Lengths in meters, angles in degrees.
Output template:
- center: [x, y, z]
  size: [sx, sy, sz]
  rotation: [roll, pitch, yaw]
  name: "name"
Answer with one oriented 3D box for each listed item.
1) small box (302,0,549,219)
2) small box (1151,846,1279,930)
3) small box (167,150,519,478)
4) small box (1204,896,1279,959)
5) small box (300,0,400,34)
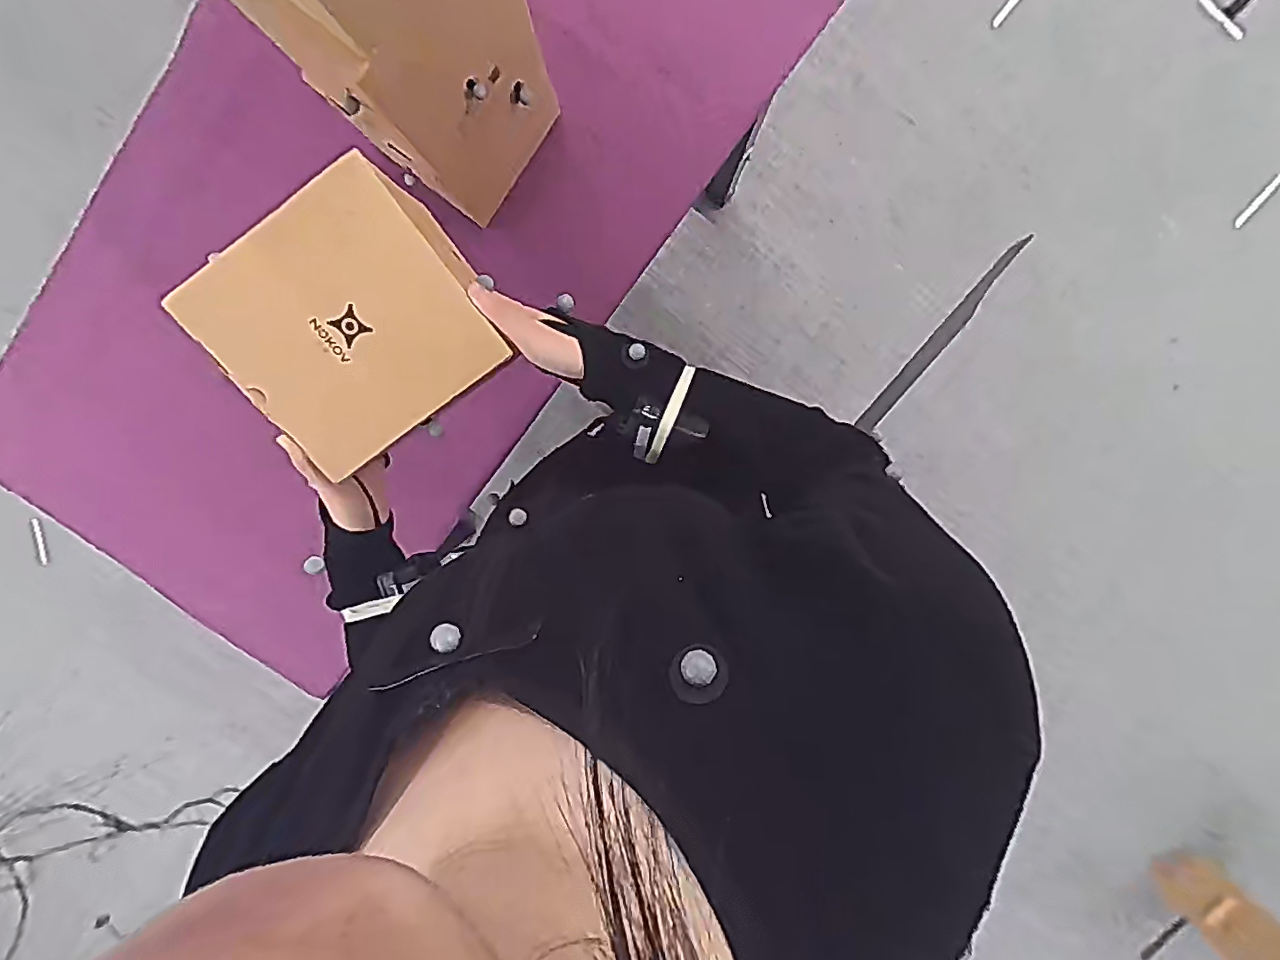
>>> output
- center: [-0.219, -0.437, 0.608]
  size: [0.168, 0.176, 0.179]
  rotation: [37, 98, -4]
  name: "small box"
- center: [1.698, 1.238, 1.603]
  size: [0.179, 0.176, 0.168]
  rotation: [36, 98, -5]
  name: "small box"
- center: [-0.219, -0.134, 0.463]
  size: [0.179, 0.176, 0.168]
  rotation: [-35, 107, 5]
  name: "small box"
- center: [1.694, 1.266, 1.443]
  size: [0.179, 0.176, 0.168]
  rotation: [35, 99, -5]
  name: "small box"
- center: [-0.212, -0.400, 0.282]
  size: [0.179, 0.176, 0.168]
  rotation: [36, 98, -4]
  name: "small box"
